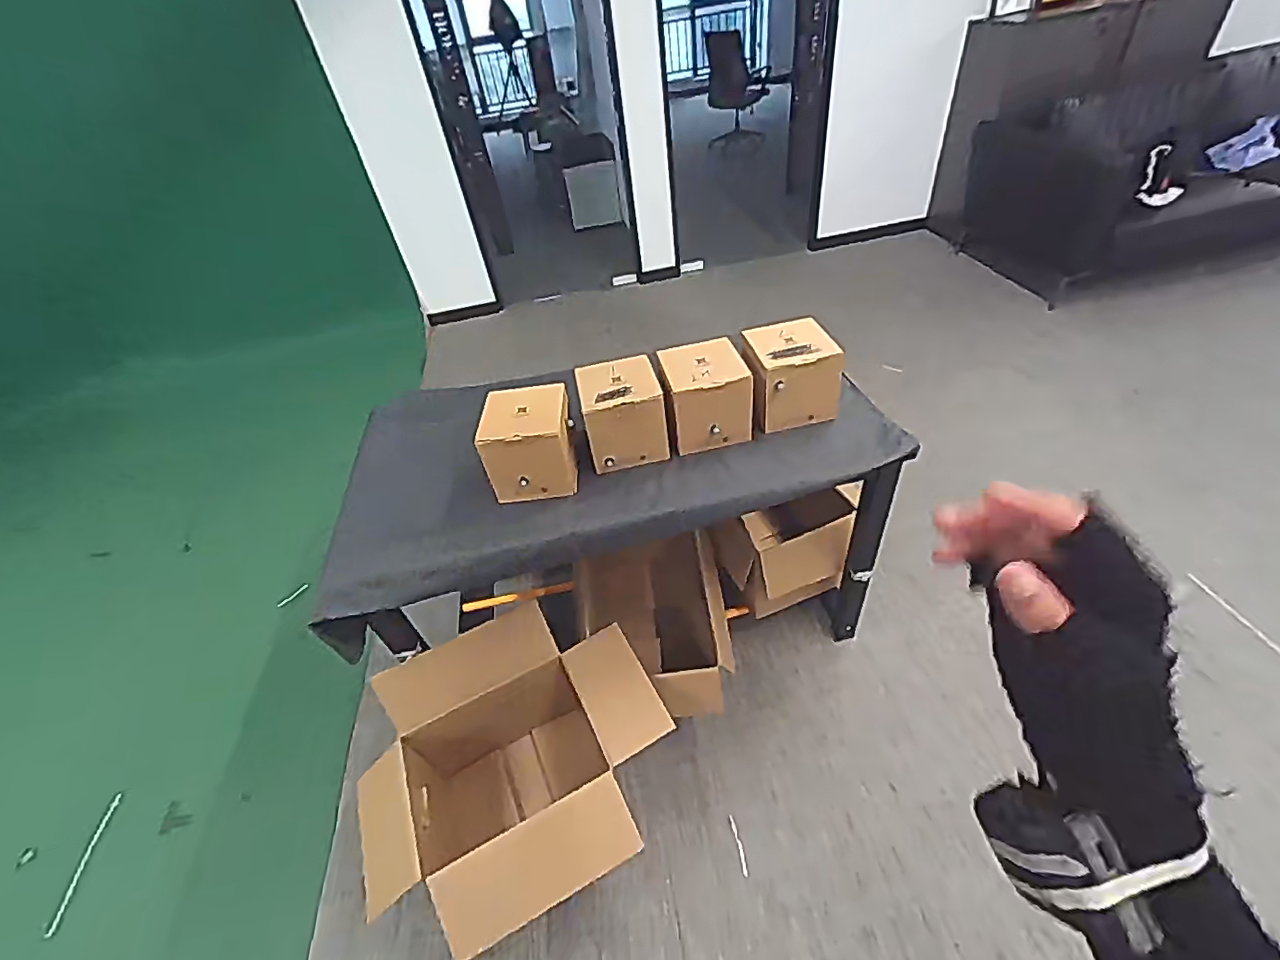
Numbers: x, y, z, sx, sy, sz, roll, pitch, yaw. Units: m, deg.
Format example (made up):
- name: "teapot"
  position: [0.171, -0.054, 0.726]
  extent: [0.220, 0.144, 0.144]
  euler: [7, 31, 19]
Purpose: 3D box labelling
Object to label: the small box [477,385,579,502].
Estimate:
- name: "small box"
  position: [-0.227, -0.077, 1.143]
  extent: [0.168, 0.176, 0.179]
  euler: [-6, 43, 2]
